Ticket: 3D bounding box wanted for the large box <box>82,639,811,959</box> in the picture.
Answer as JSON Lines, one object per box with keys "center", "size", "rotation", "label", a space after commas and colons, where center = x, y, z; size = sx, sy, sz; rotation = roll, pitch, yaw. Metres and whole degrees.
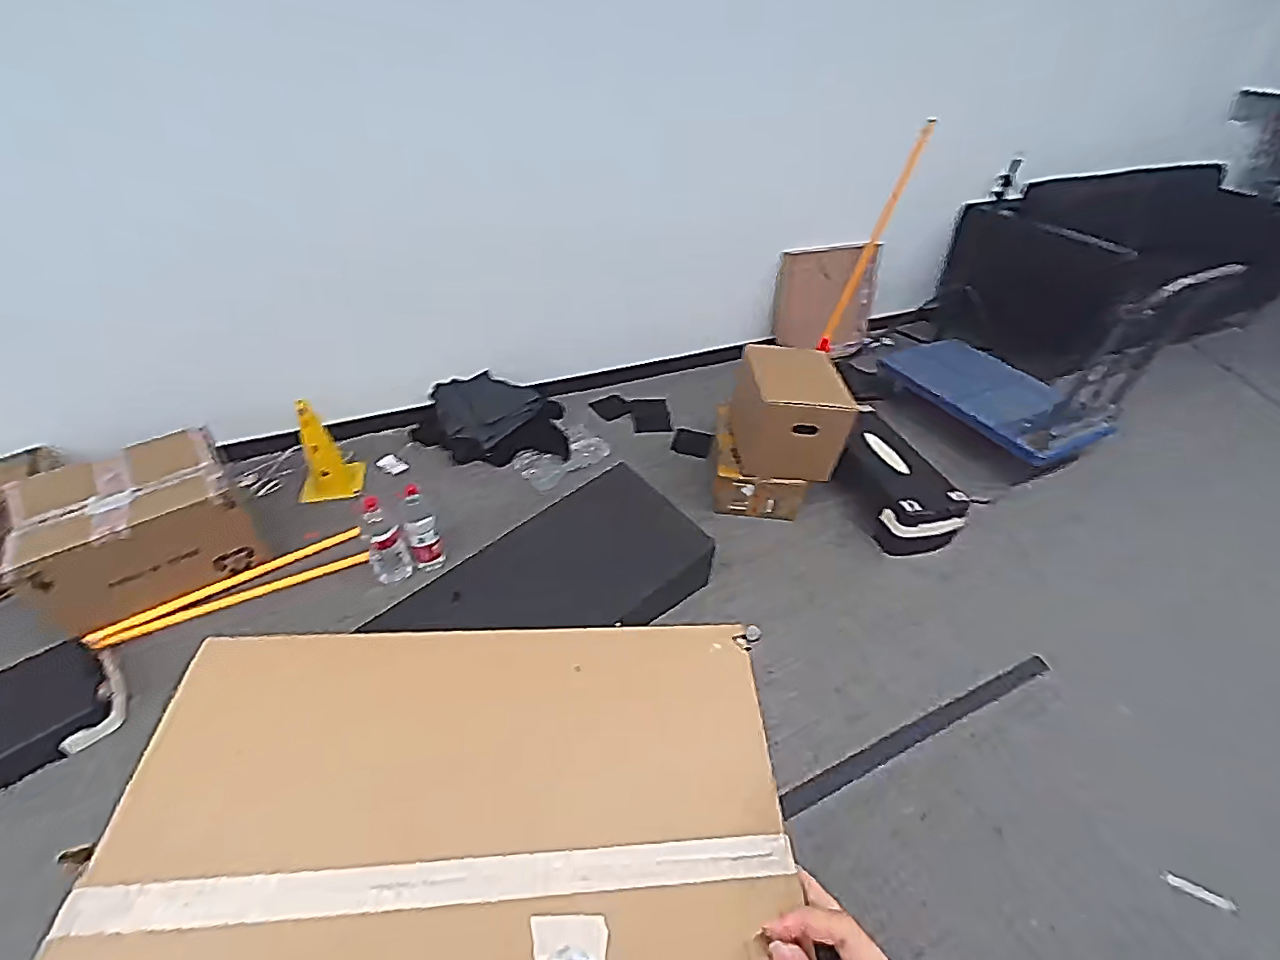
{"center": [-0.115, 0.344, 0.431], "size": [0.408, 0.320, 0.320], "rotation": [1, 49, -7], "label": "large box"}
